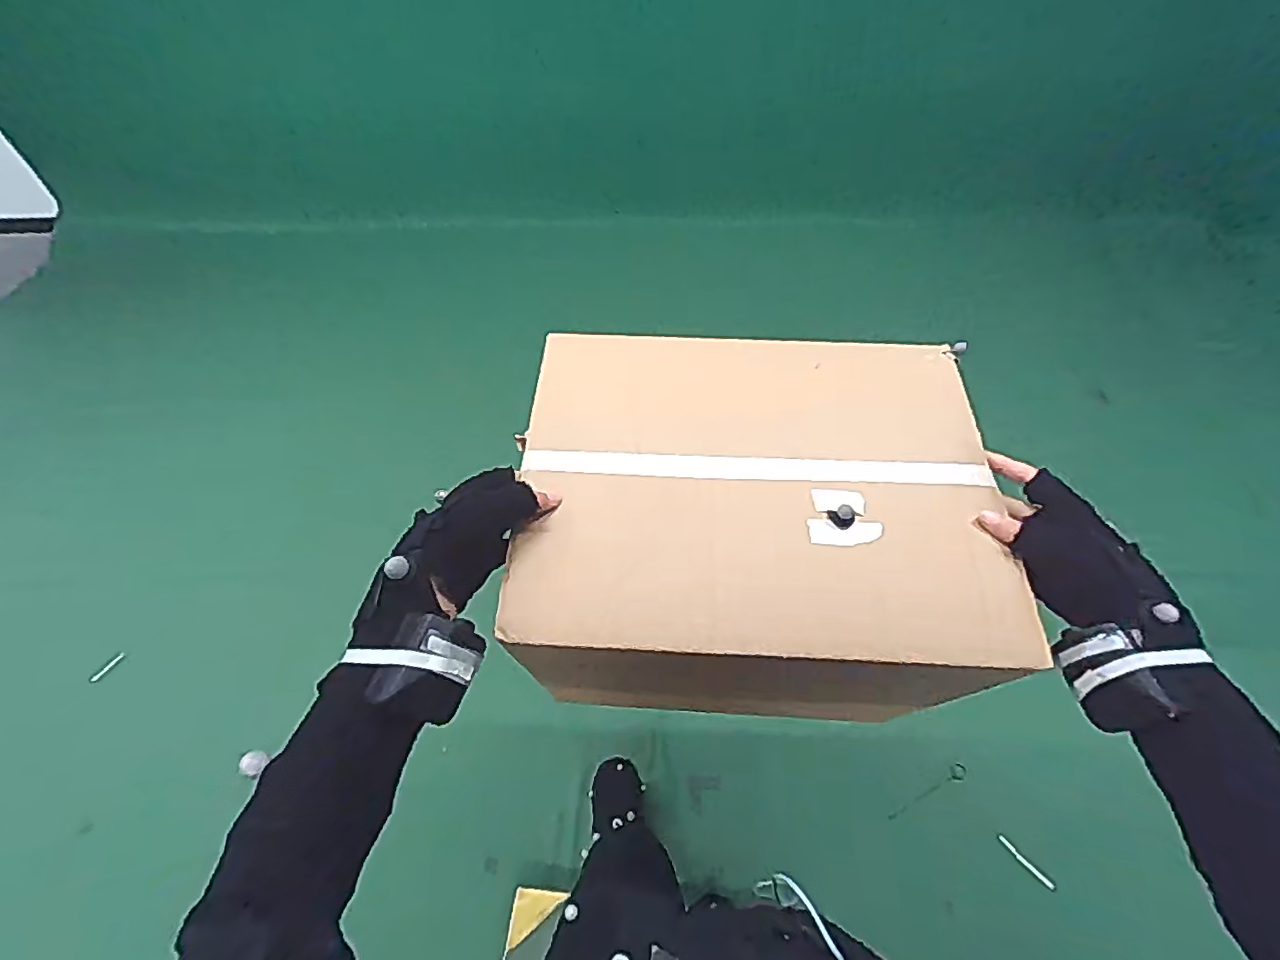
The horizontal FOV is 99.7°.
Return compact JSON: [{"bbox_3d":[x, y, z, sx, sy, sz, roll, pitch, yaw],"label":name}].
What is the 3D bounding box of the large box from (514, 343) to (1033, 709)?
[{"bbox_3d":[0.102,0.069,0.611,0.408,0.320,0.320,2,60,1],"label":"large box"}]
